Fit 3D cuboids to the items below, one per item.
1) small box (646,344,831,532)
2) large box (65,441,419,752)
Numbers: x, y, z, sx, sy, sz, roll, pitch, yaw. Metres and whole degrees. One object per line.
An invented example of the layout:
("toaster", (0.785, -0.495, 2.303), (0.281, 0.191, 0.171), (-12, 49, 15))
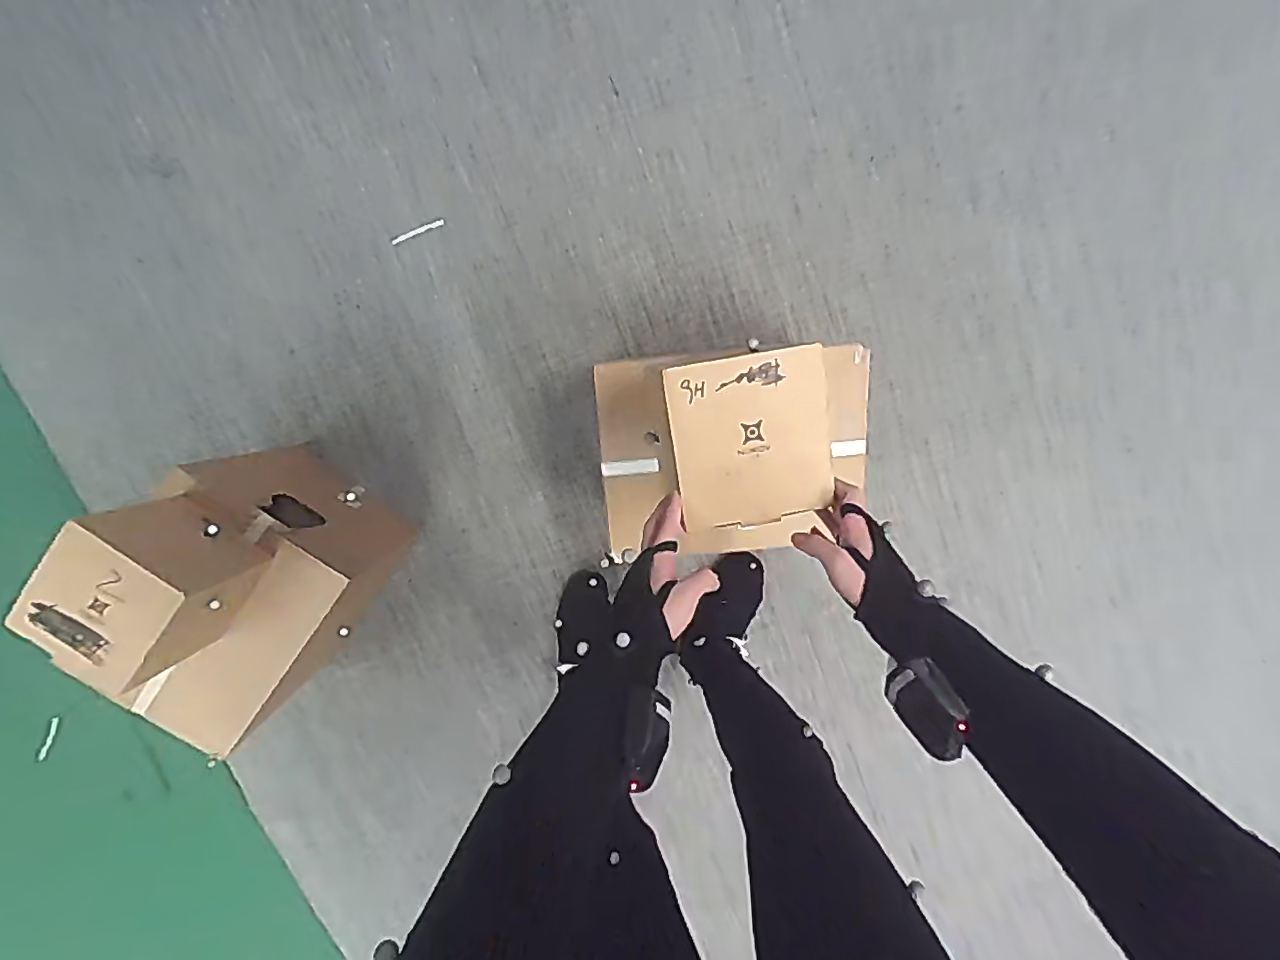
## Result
("small box", (0.105, -0.059, 0.627), (0.168, 0.176, 0.179), (-9, 105, -5))
("large box", (-0.694, 0.187, 1.009), (0.320, 0.320, 0.408), (37, 98, -6))
